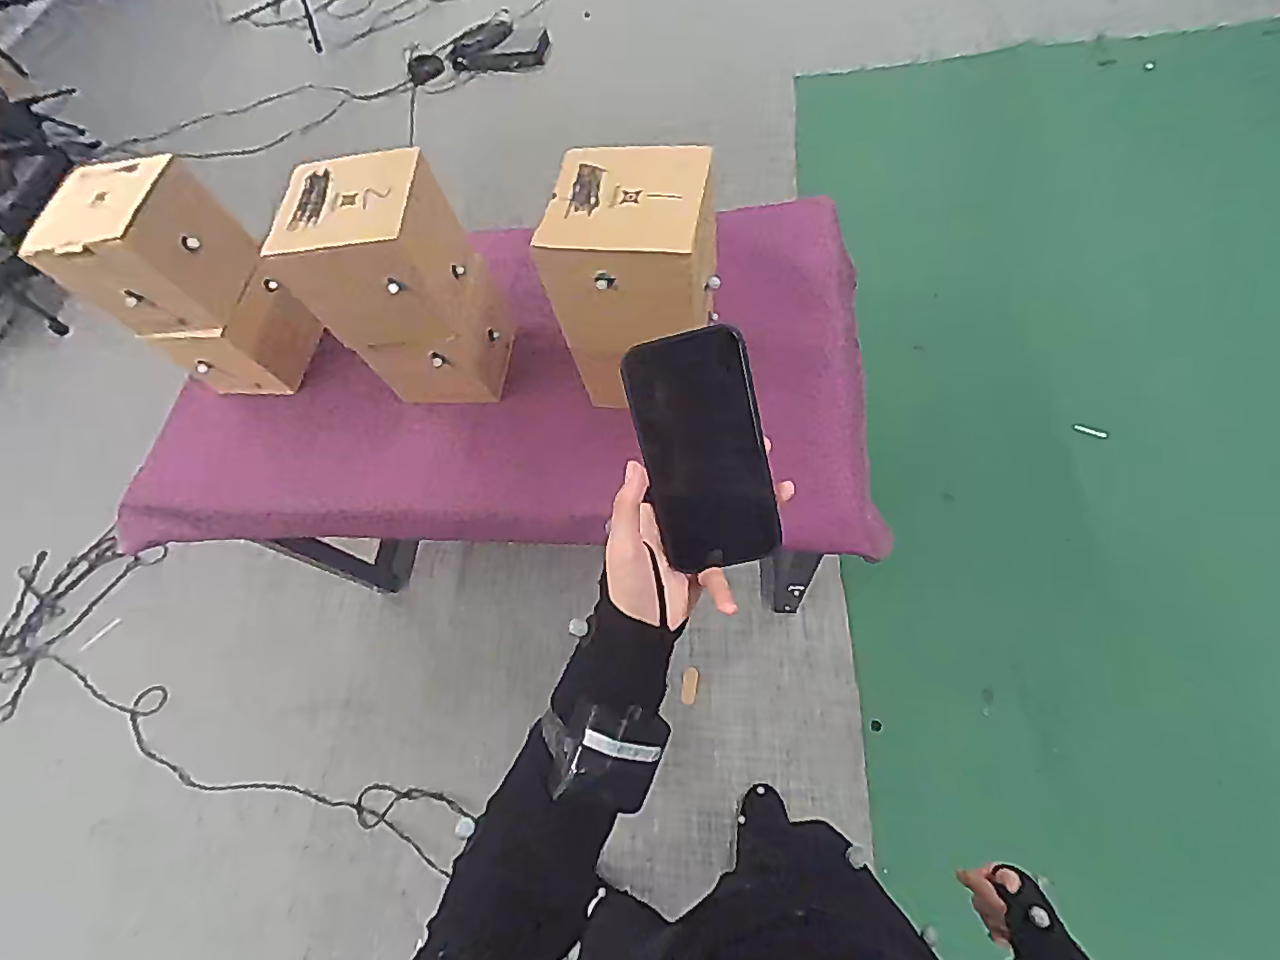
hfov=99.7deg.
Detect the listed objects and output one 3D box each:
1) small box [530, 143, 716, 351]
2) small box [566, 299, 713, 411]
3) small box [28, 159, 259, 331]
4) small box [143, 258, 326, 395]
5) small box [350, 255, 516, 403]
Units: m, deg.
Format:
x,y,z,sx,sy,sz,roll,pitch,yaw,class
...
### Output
x,y,z,sx,sy,sz,roll,pitch,yaw,class
-0.006,-0.275,0.659,0.179,0.176,0.168,7,66,13,small box
0.012,-0.218,0.812,0.179,0.176,0.168,7,66,14,small box
-0.728,-0.343,0.819,0.168,0.176,0.179,-3,65,8,small box
-0.702,-0.264,0.962,0.168,0.176,0.179,2,65,11,small box
-0.321,-0.238,0.879,0.179,0.176,0.168,1,65,11,small box
